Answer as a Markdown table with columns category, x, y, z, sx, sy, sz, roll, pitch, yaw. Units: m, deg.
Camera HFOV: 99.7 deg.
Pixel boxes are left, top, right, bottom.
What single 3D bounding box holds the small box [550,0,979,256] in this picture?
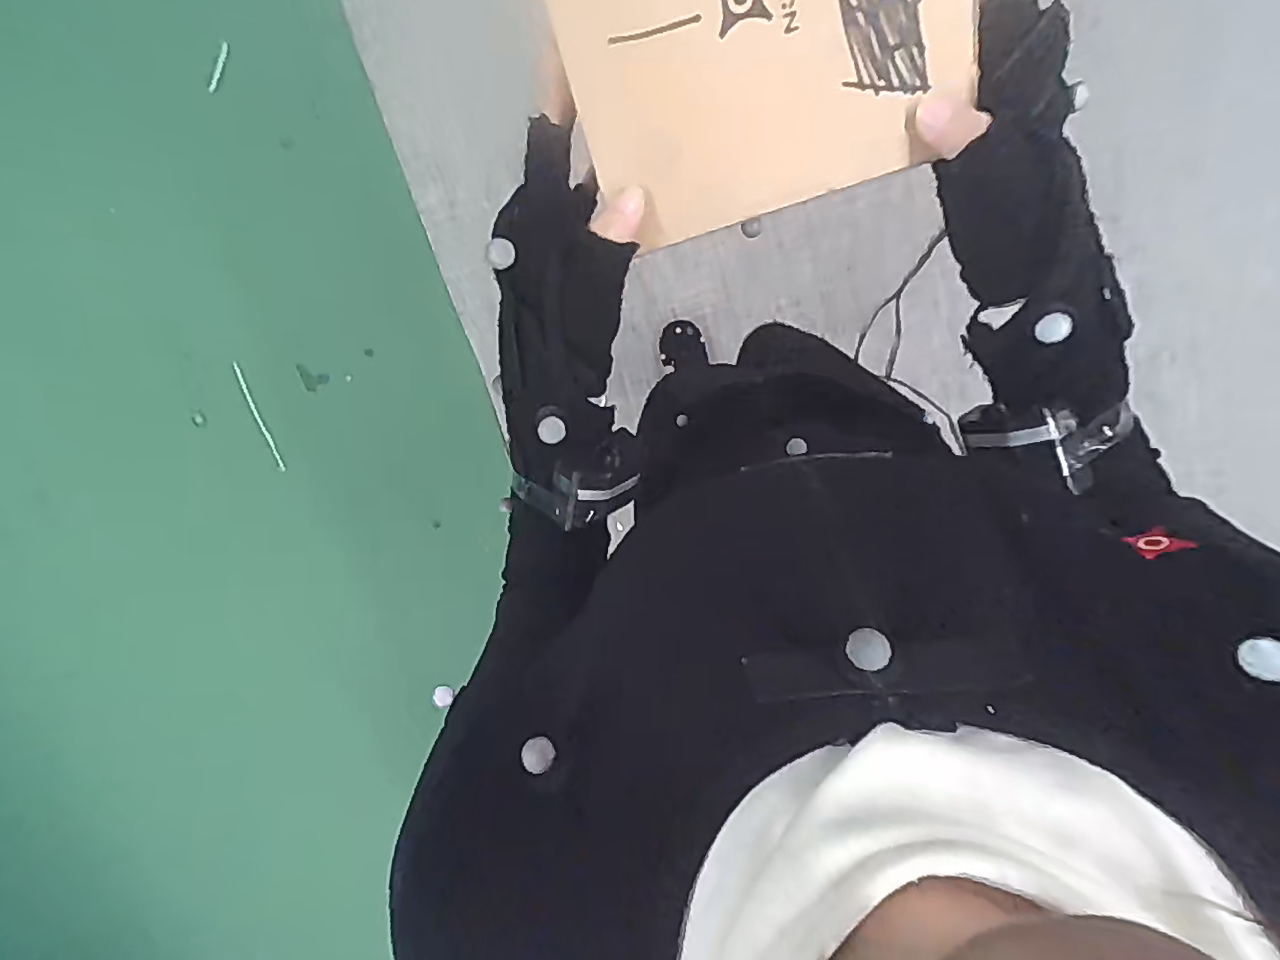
| category | x | y | z | sx | sy | sz | roll | pitch | yaw |
| --- | --- | --- | --- | --- | --- | --- | --- | --- | --- |
| small box | 0.049 | -0.244 | 0.298 | 0.179 | 0.176 | 0.168 | -18 | 117 | 7 |
